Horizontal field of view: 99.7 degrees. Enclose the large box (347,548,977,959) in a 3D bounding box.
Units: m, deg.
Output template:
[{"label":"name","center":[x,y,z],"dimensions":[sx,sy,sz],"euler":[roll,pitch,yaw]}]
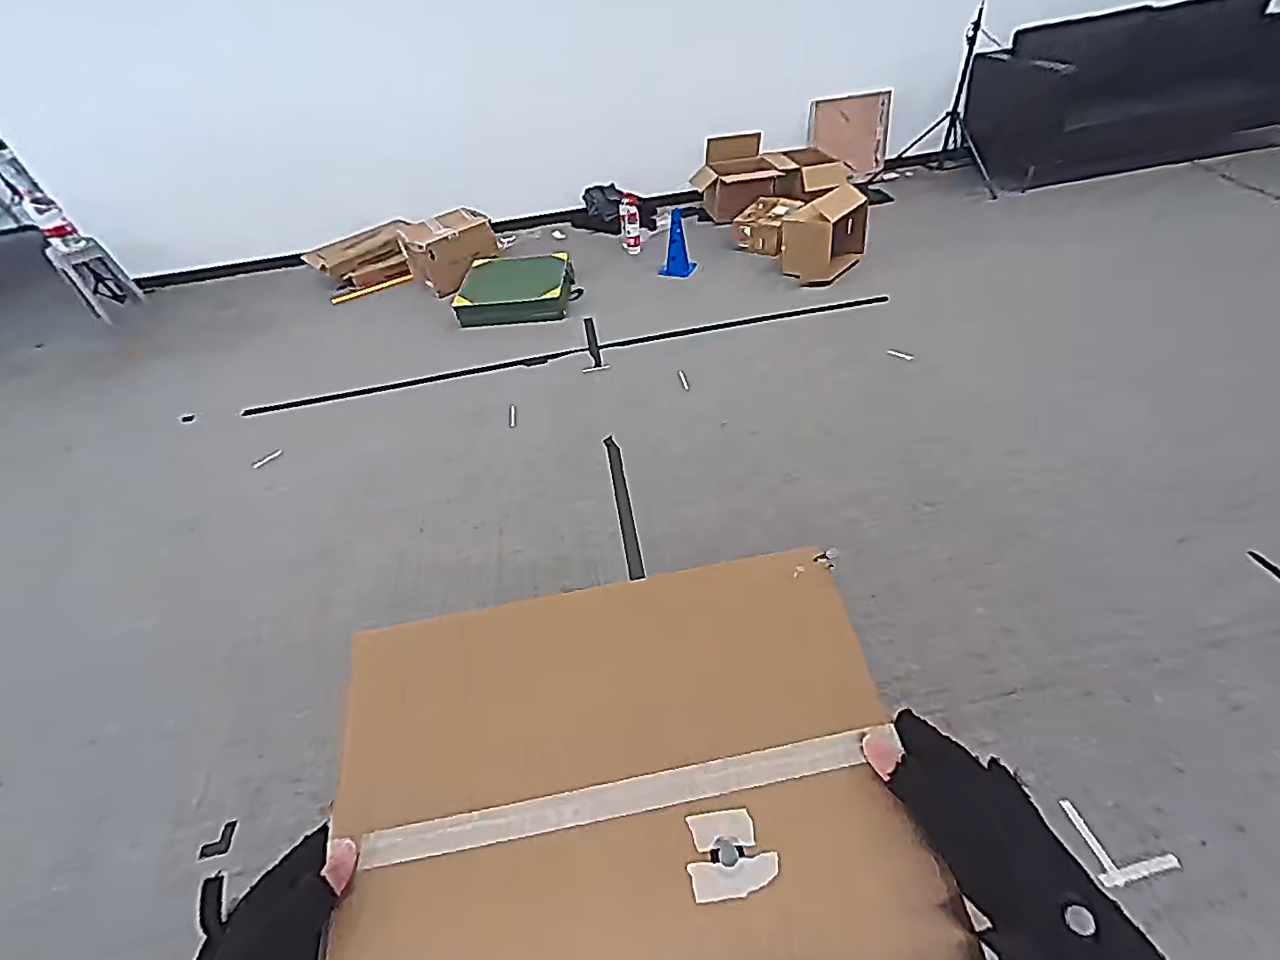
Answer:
[{"label":"large box","center":[-0.002,0.303,0.524],"dimensions":[0.408,0.320,0.320],"euler":[-10,59,-3]}]
